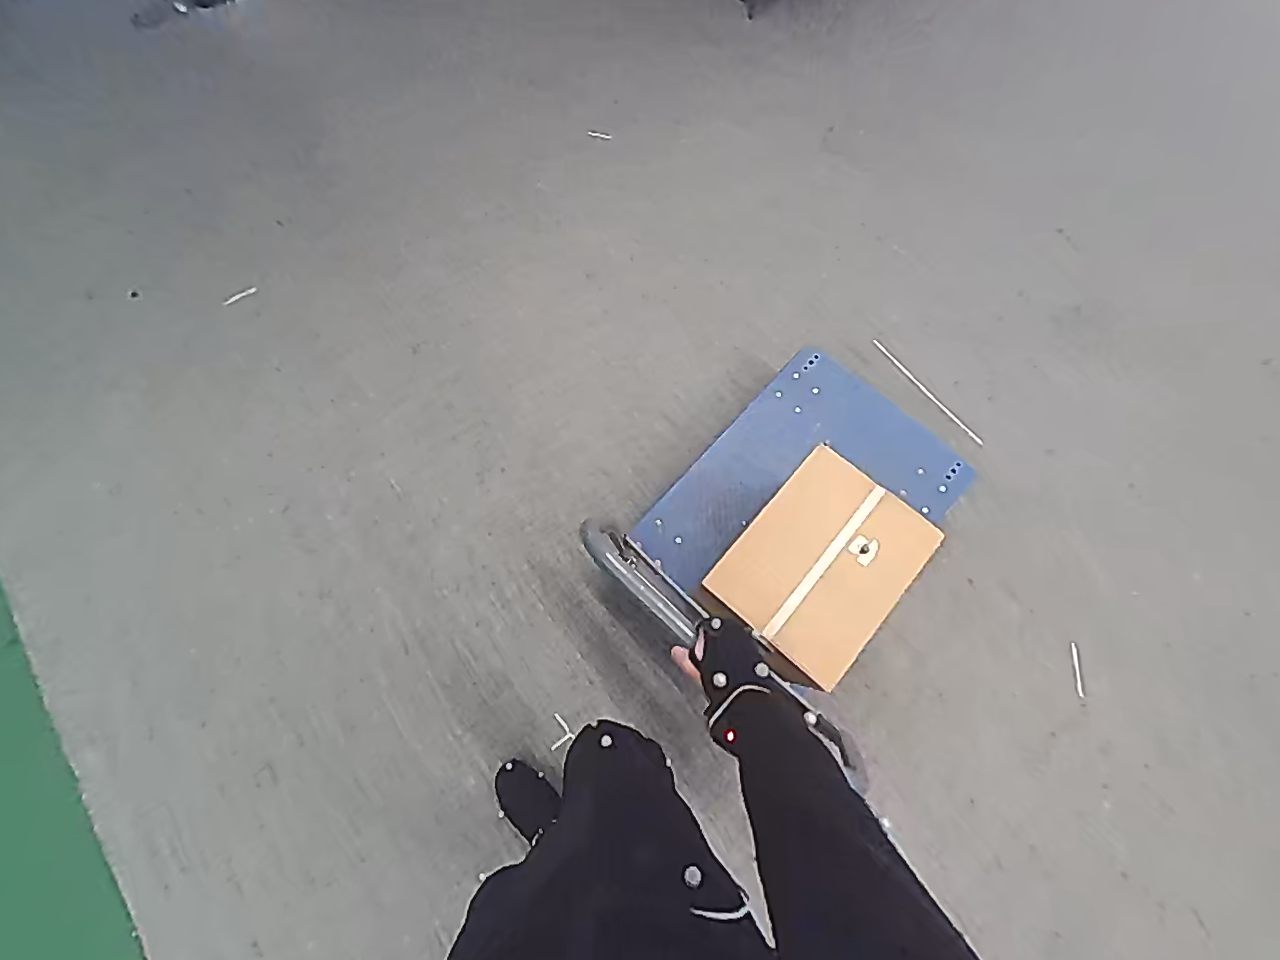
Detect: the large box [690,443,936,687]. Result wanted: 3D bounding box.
[{"bbox_3d":[0.361,0.202,1.224,0.320,0.320,0.408,41,76,11],"label":"large box"}]
